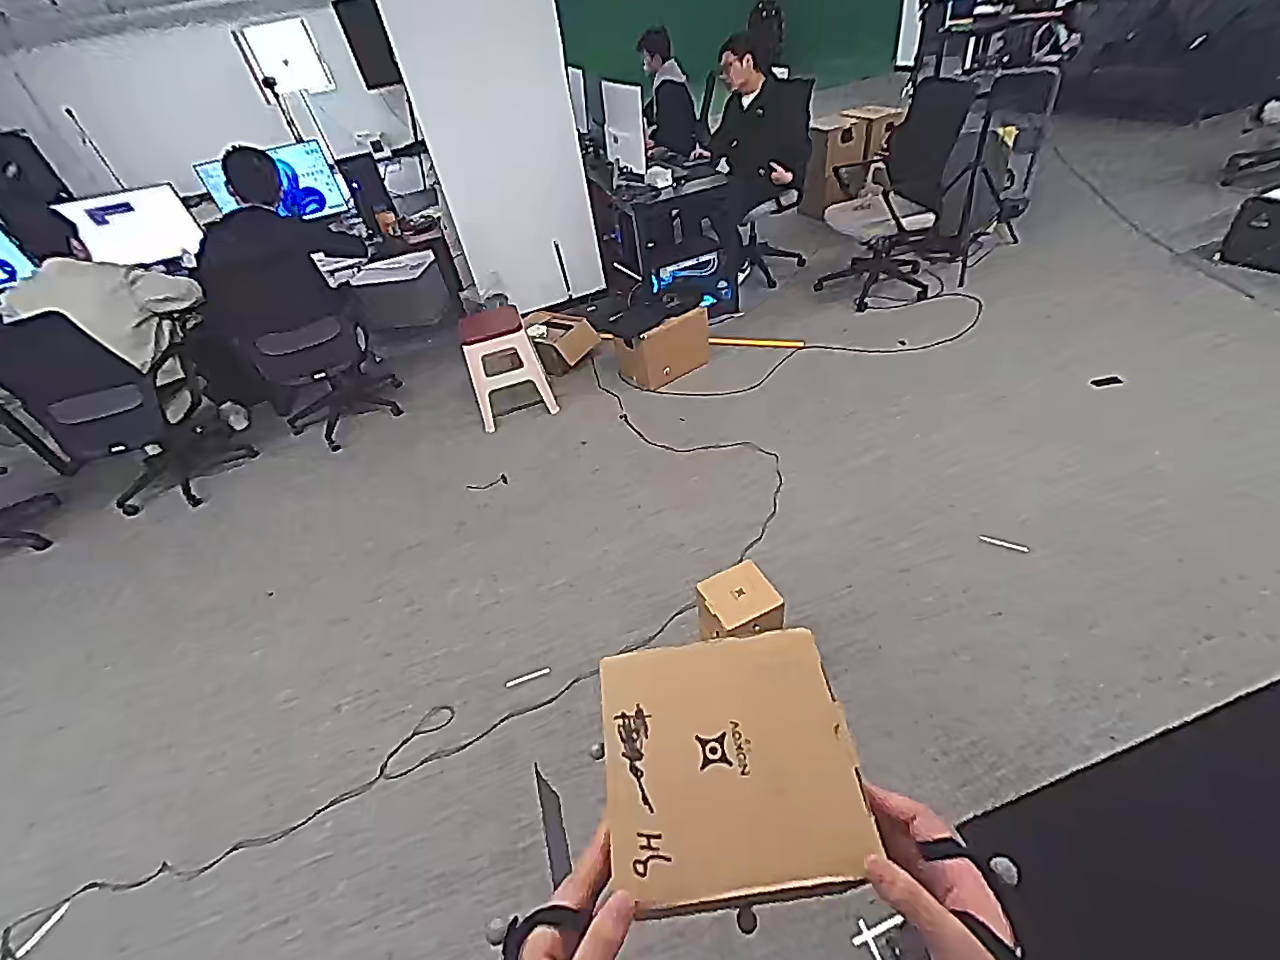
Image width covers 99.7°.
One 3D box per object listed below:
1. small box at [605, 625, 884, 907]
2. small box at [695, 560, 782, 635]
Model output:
[{"bbox_3d":[0.069,0.242,0.455,0.179,0.176,0.168,-7,48,-1],"label":"small box"},{"bbox_3d":[0.268,0.358,1.473,0.179,0.176,0.168,-22,43,-13],"label":"small box"}]
